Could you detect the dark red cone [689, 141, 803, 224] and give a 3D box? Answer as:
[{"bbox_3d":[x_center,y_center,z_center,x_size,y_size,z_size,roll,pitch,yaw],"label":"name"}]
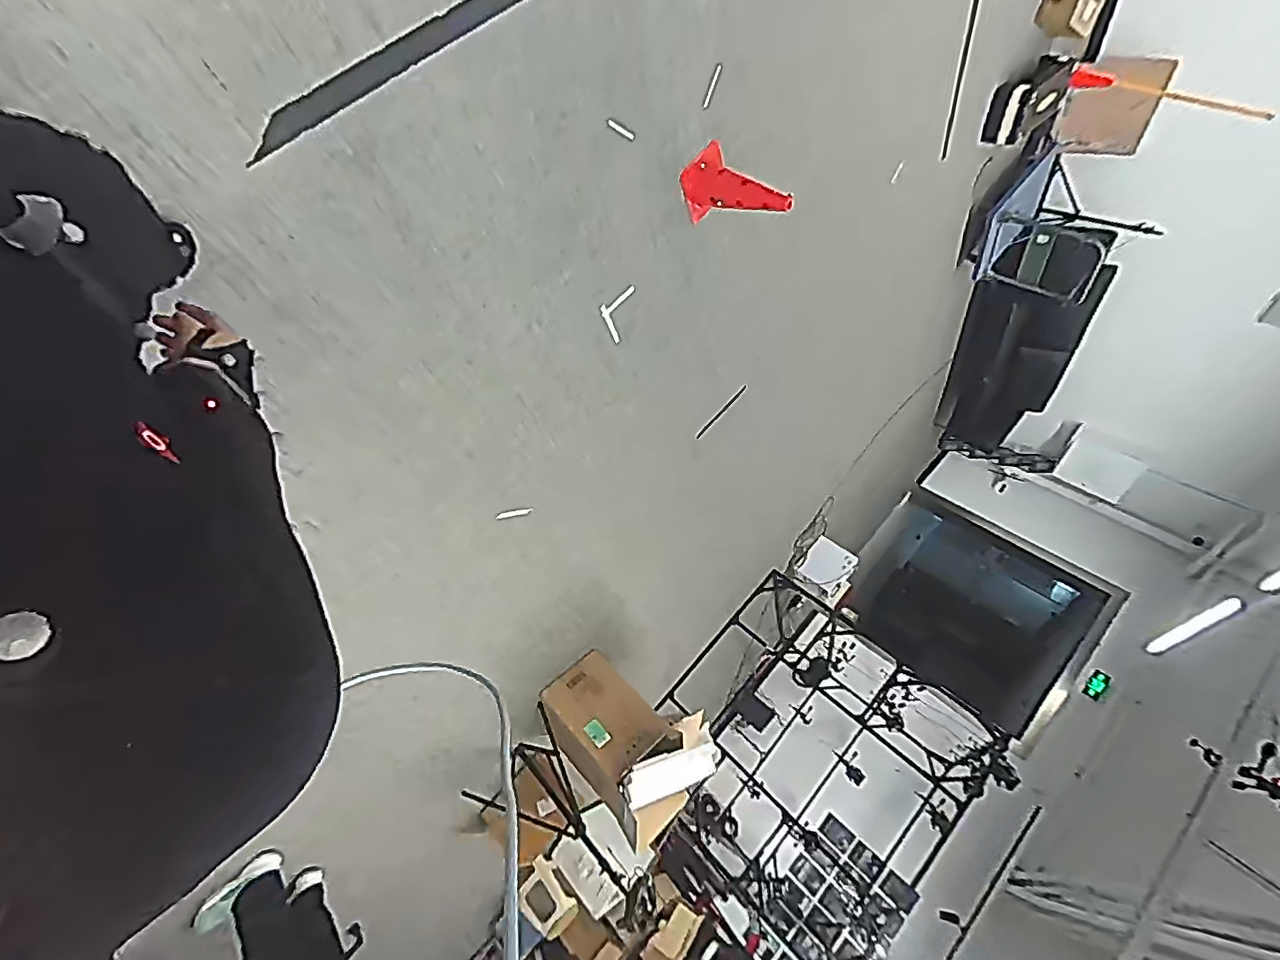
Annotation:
[{"bbox_3d":[0.359,-0.939,1.765,0.202,0.394,0.201,-49,146,-8],"label":"dark red cone"}]
